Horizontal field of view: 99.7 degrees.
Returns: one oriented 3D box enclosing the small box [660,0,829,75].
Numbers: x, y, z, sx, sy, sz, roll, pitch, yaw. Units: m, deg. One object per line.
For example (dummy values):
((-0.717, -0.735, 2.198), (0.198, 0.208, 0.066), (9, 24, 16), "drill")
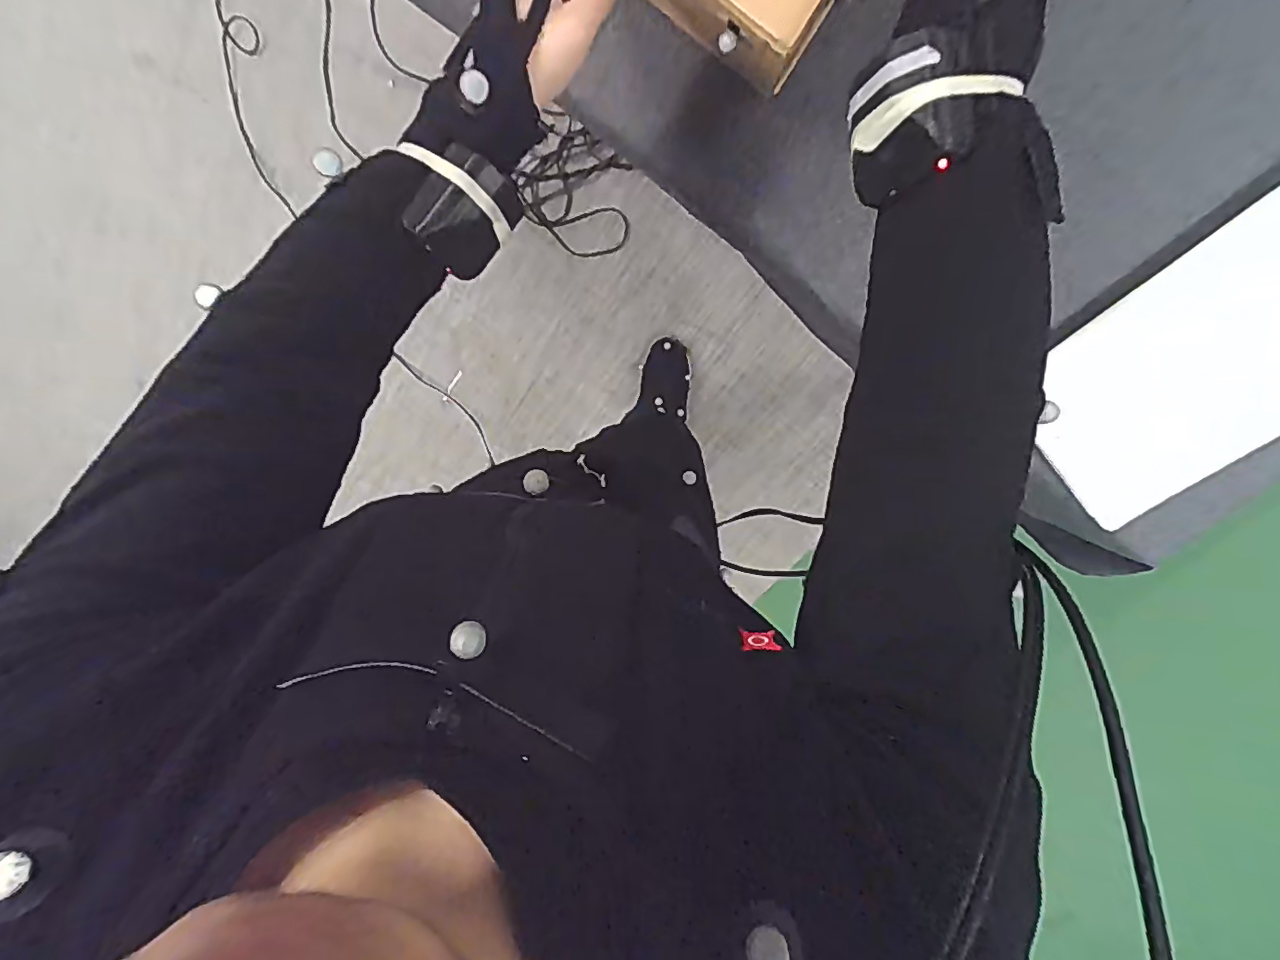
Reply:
((0.074, -0.402, 0.344), (0.179, 0.176, 0.168), (32, 118, -9), "small box")
